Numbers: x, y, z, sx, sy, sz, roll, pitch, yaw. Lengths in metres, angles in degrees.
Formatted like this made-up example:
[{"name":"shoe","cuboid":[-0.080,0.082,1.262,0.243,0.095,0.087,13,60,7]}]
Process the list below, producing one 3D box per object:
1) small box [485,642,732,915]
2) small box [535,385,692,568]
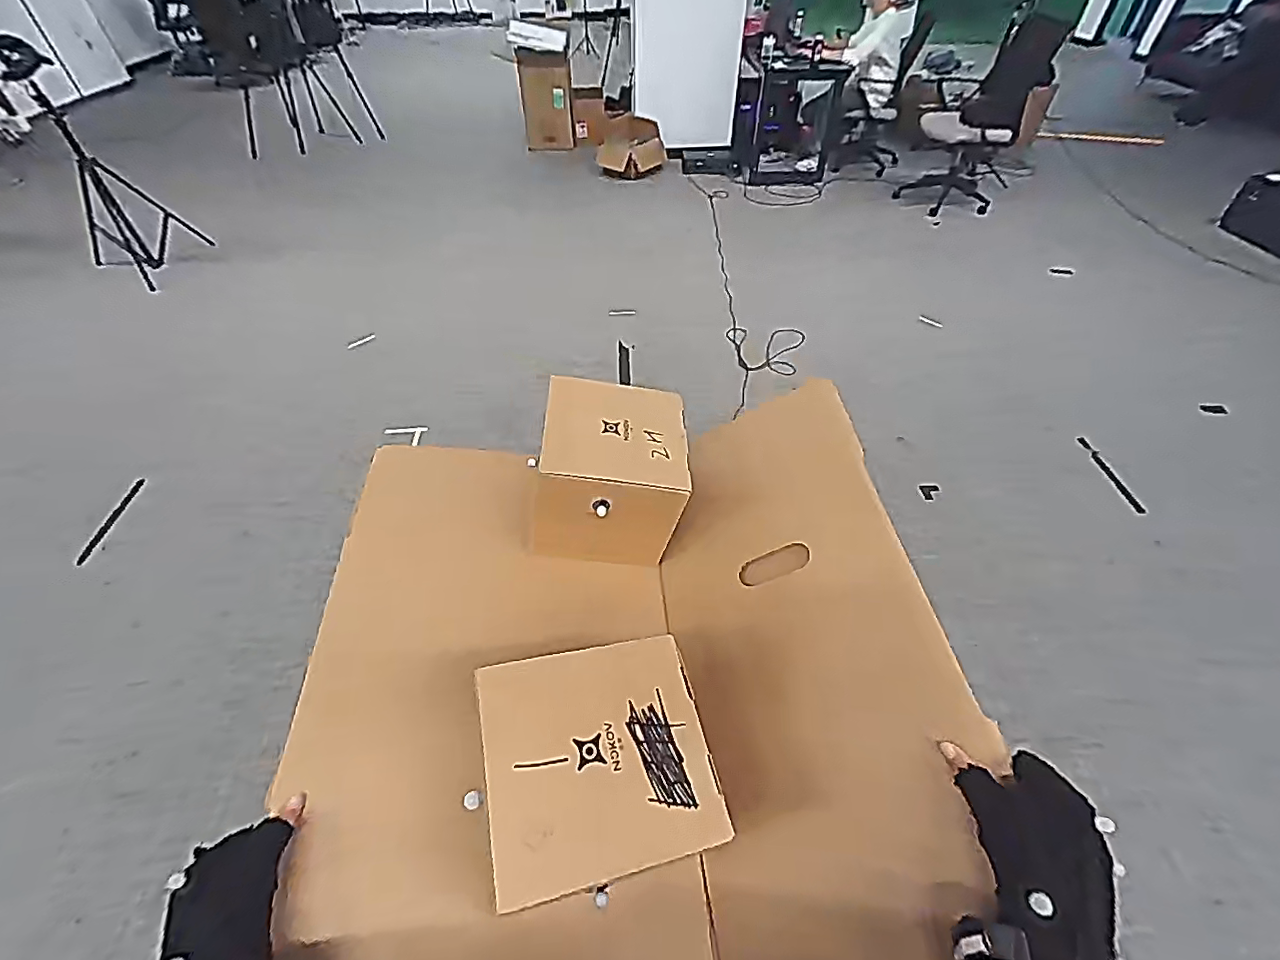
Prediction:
[{"name":"small box","cuboid":[-0.046,0.268,0.491,0.179,0.176,0.168,-4,52,-18]},{"name":"small box","cuboid":[-0.040,0.002,0.718,0.179,0.176,0.168,8,49,-10]}]
